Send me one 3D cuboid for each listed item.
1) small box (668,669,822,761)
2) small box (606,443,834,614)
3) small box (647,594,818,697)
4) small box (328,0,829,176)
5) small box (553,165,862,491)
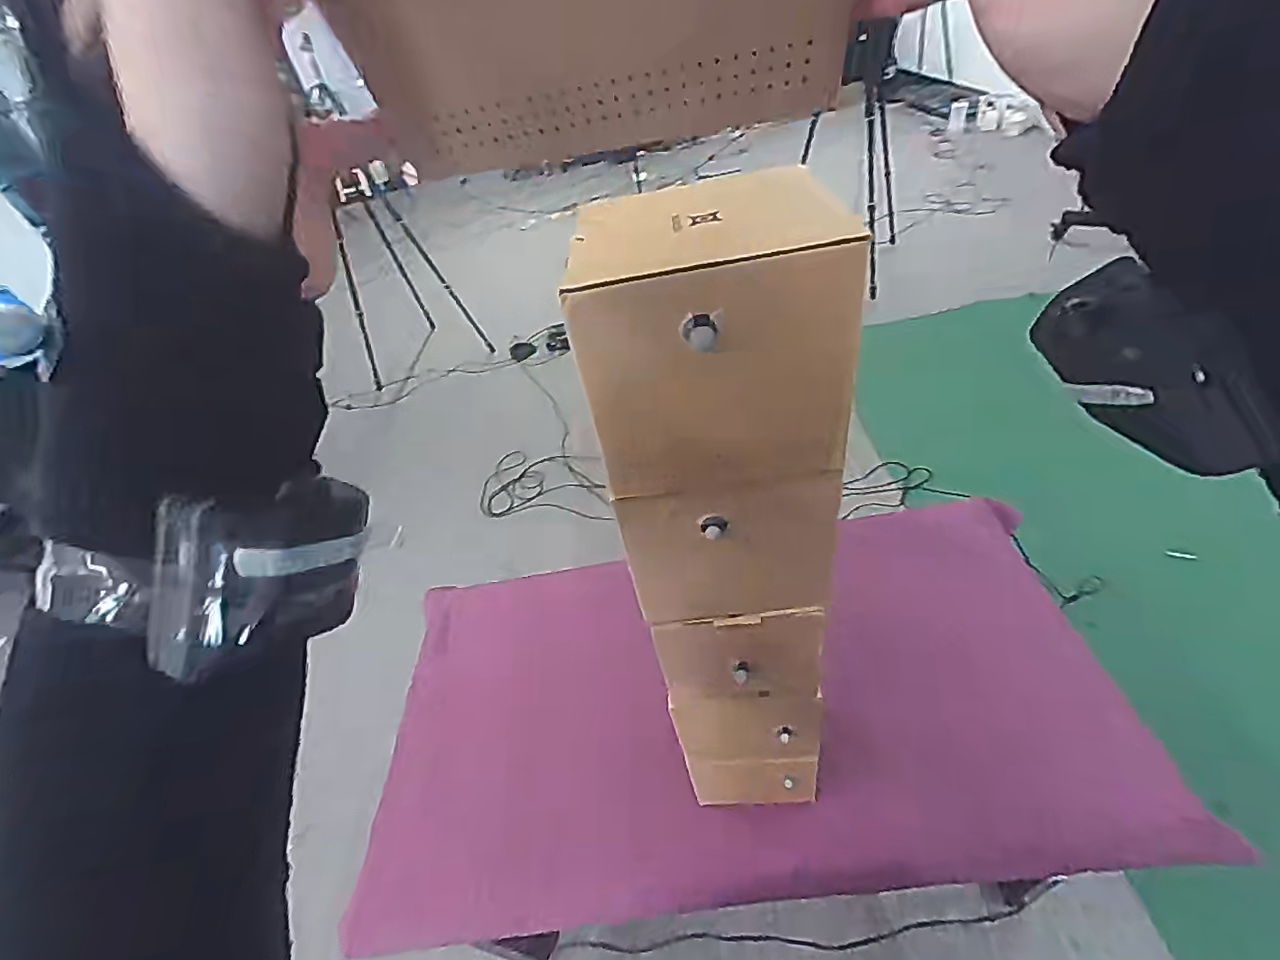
[{"bbox_3d":[0.135,0.258,0.722,0.179,0.176,0.168,-7,41,9],"label":"small box"},{"bbox_3d":[0.073,0.011,0.515,0.179,0.176,0.168,-8,41,6],"label":"small box"},{"bbox_3d":[0.104,0.134,0.621,0.168,0.176,0.179,-7,42,8],"label":"small box"},{"bbox_3d":[-0.024,-0.245,0.189,0.179,0.176,0.168,-5,66,9],"label":"small box"},{"bbox_3d":[0.050,-0.111,0.411,0.179,0.176,0.168,-8,41,7],"label":"small box"}]
